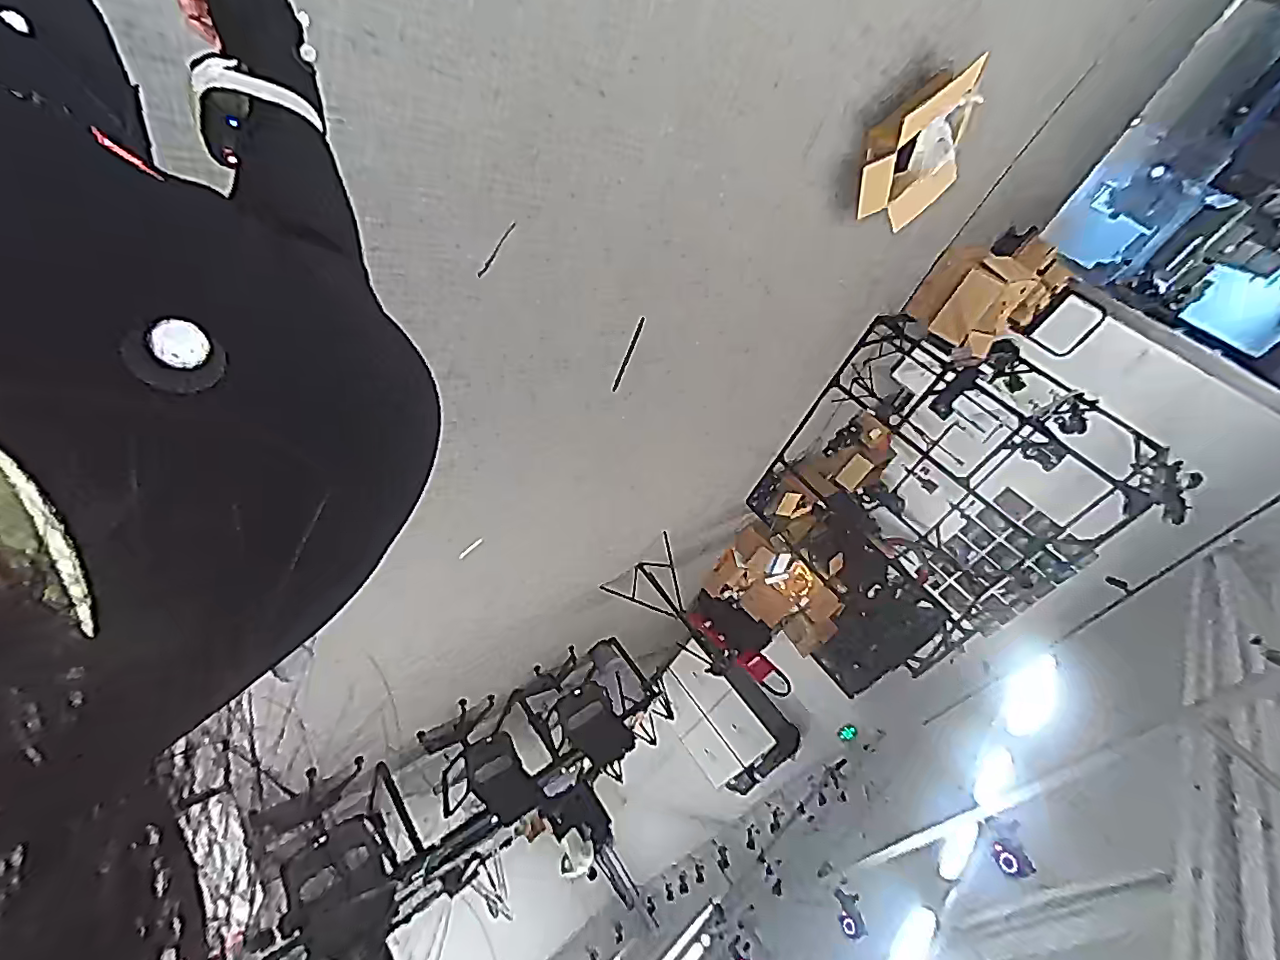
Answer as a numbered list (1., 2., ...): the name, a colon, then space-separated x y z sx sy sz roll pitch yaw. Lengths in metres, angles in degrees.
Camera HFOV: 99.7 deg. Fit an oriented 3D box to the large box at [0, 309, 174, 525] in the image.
1. large box: -1.232 -0.131 1.086 0.408 0.320 0.320 -11 140 -50
